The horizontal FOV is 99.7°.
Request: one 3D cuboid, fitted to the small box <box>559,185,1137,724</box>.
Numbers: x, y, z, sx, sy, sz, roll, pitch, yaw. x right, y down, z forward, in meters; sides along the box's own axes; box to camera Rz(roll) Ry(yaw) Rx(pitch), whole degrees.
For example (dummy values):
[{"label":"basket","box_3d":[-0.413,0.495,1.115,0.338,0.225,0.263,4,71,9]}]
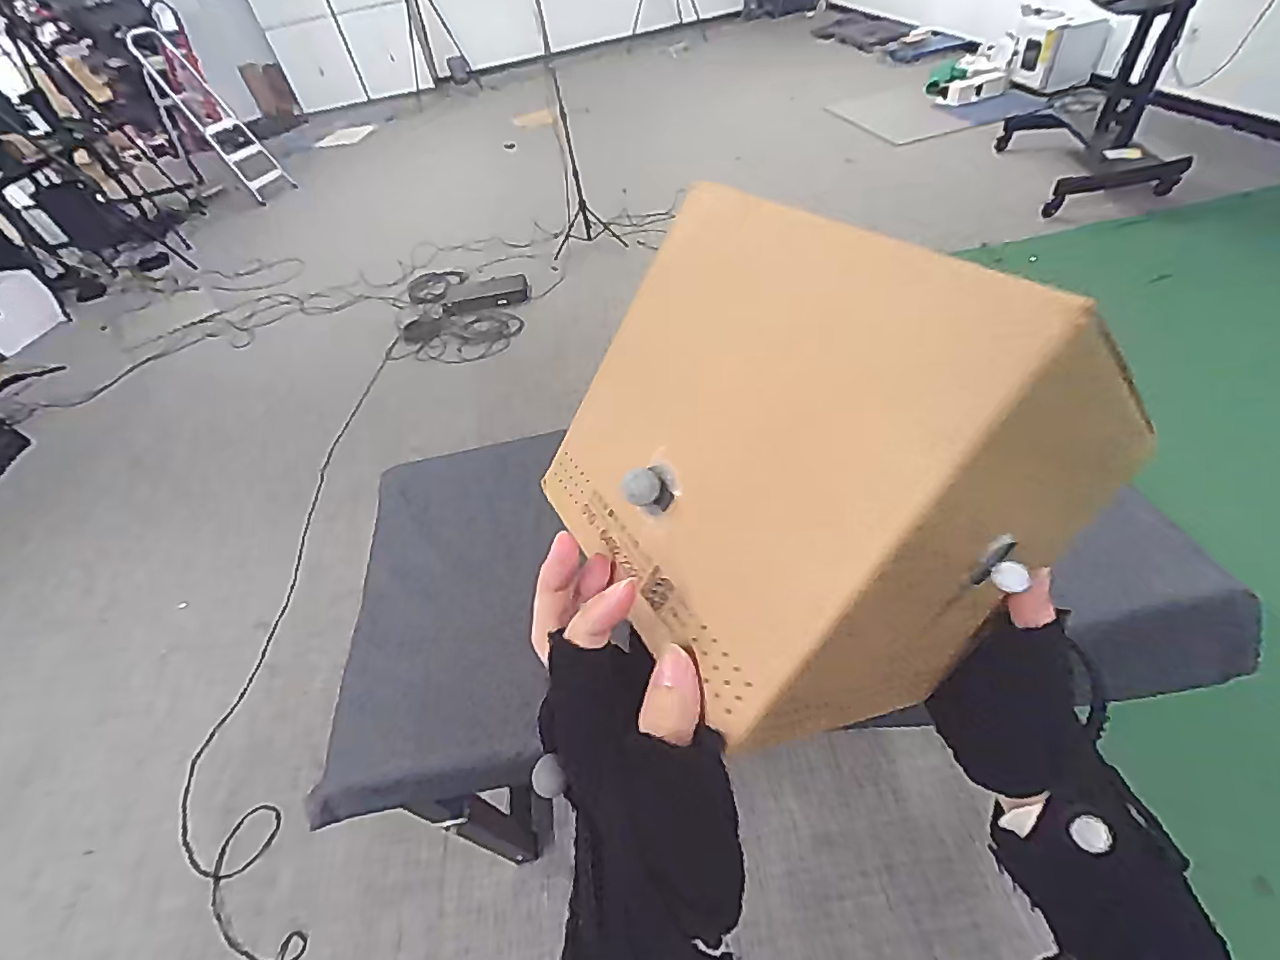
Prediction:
[{"label":"small box","box_3d":[0.090,-0.008,0.273,0.179,0.176,0.168,11,27,-42]}]
